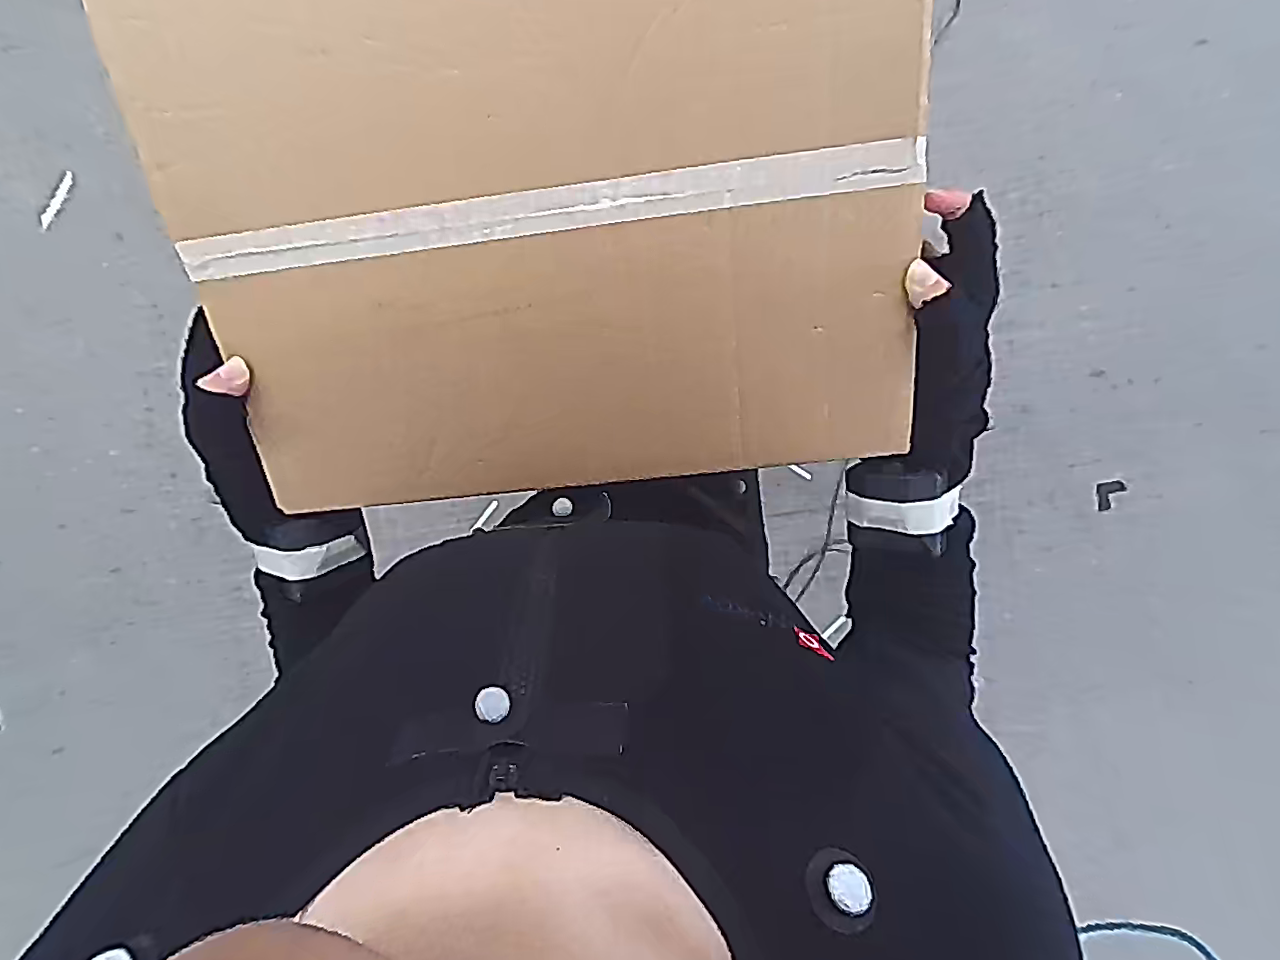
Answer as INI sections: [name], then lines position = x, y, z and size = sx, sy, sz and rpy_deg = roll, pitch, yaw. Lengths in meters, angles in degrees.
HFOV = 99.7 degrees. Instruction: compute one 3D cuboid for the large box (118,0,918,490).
[large box]
position = -0.051, -0.207, 0.439
size = 0.408, 0.320, 0.320
rpy_deg = -6, 111, 4
